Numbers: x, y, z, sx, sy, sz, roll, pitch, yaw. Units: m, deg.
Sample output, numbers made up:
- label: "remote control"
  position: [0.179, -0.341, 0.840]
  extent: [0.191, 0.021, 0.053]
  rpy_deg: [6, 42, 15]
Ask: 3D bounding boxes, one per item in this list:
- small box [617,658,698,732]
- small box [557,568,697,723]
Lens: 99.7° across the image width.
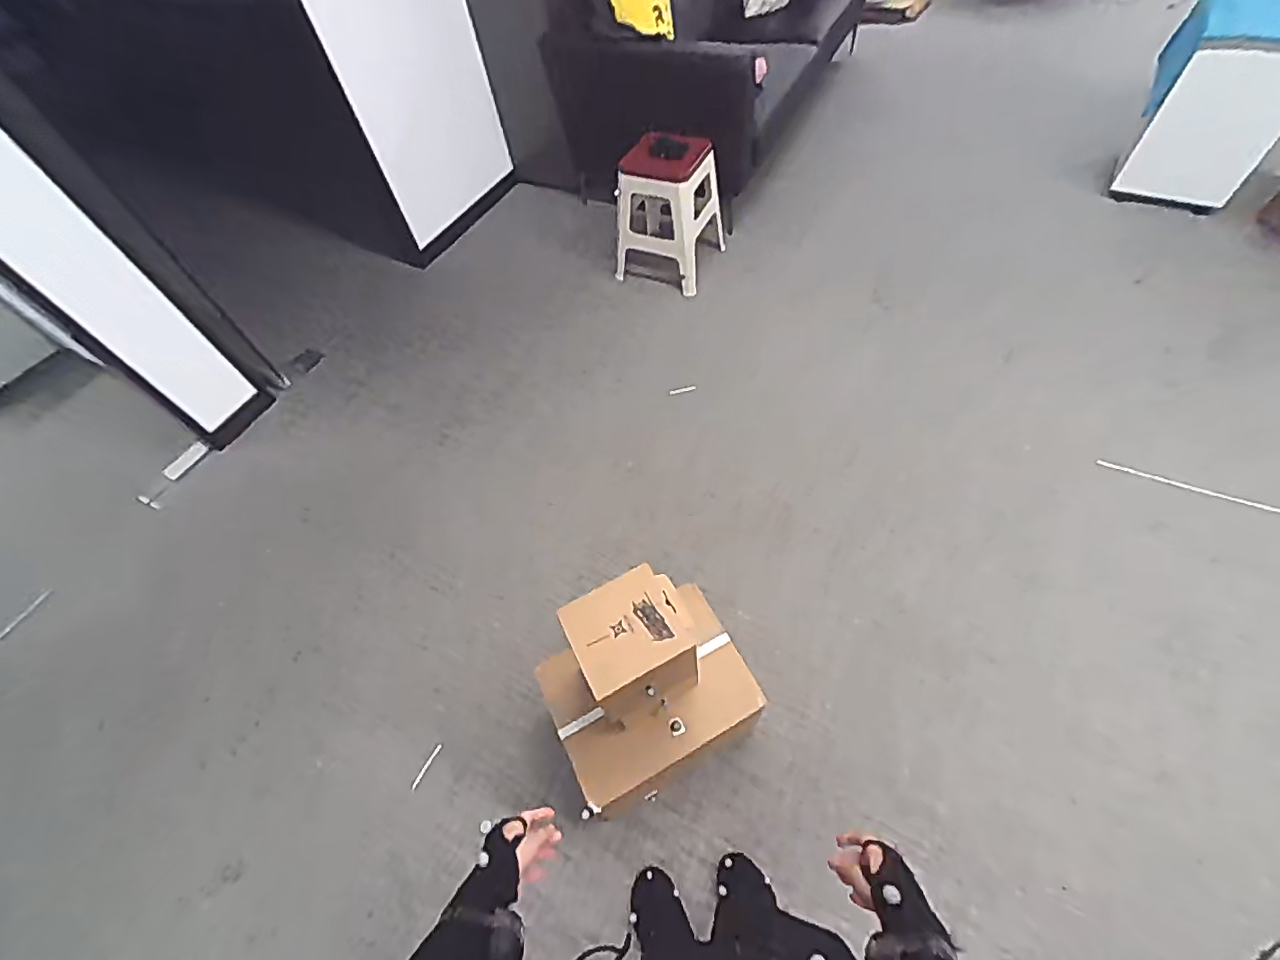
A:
- label: "small box"
  position: [-0.003, 0.365, 1.066]
  extent: [0.179, 0.176, 0.168]
  rpy_deg: [-29, 56, -15]
- label: "small box"
  position: [-0.017, 0.285, 0.921]
  extent: [0.179, 0.176, 0.168]
  rpy_deg: [-26, 56, -11]
